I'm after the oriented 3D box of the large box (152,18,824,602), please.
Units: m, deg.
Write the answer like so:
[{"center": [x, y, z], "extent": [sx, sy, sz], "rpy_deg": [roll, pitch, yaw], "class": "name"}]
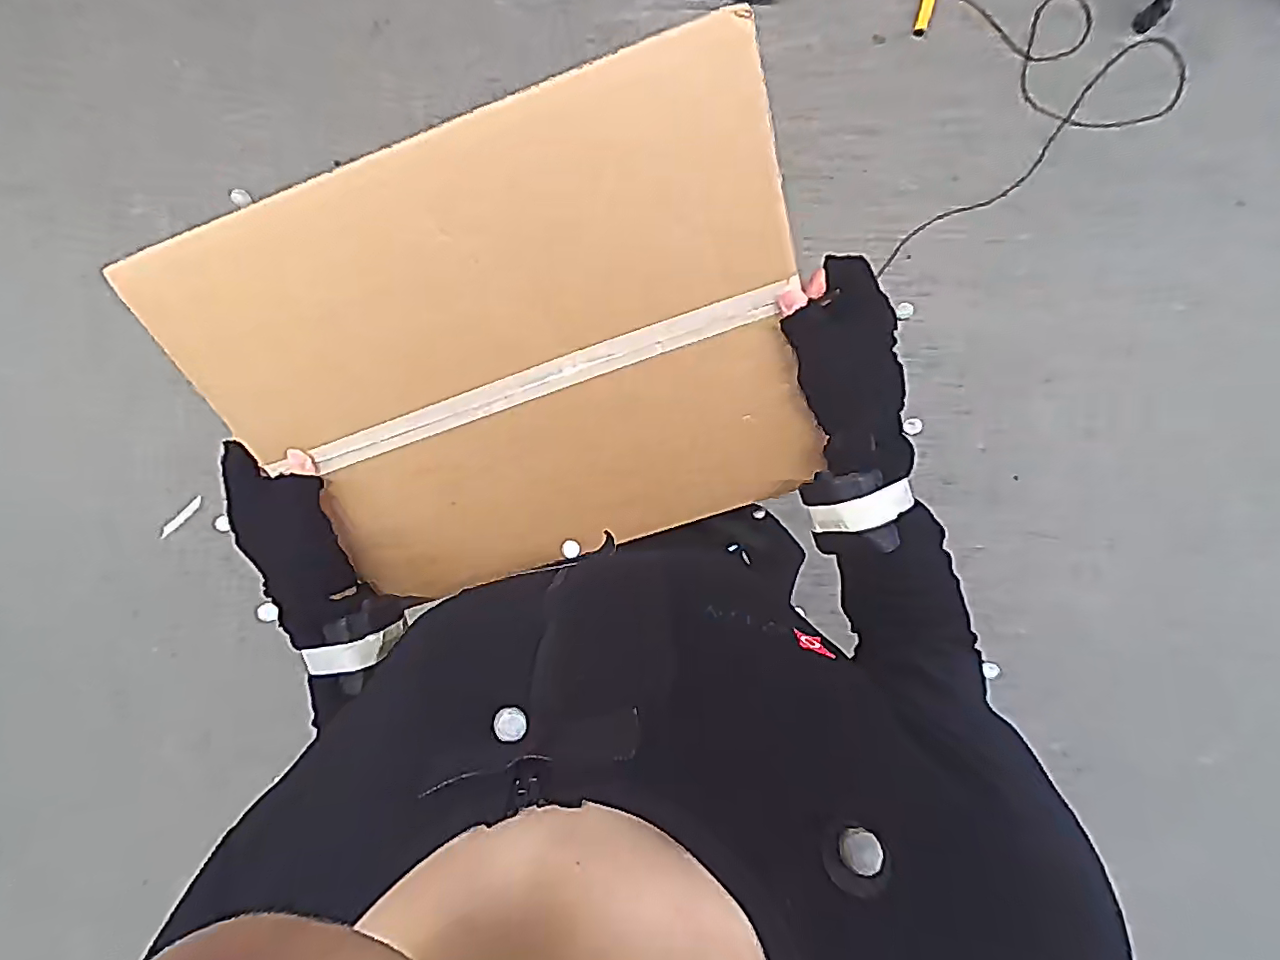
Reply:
[{"center": [-0.092, -0.146, 0.523], "extent": [0.408, 0.320, 0.320], "rpy_deg": [-18, 122, 7], "class": "large box"}]
